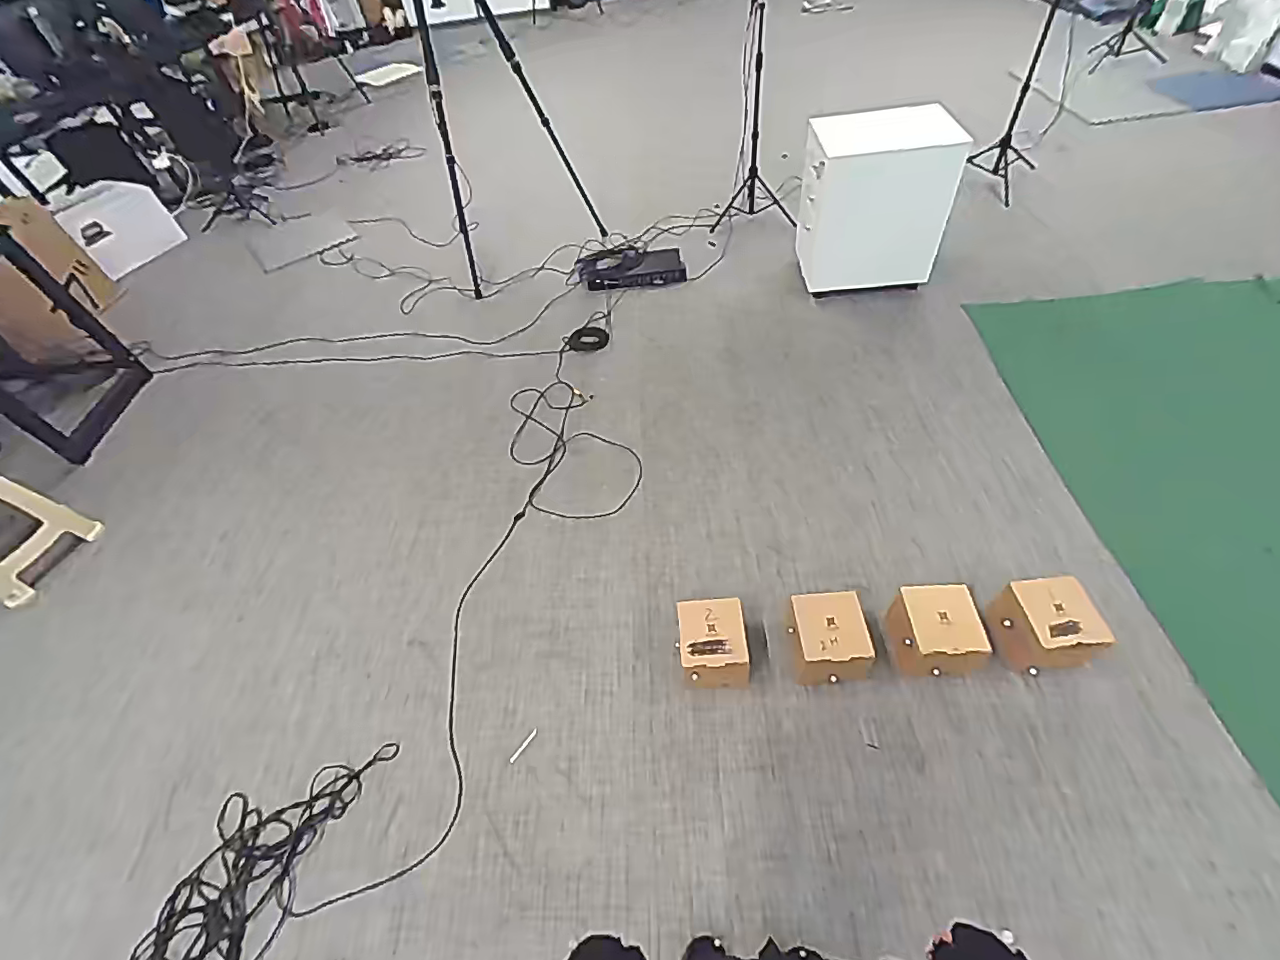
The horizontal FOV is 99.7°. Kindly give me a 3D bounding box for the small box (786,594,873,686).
[{"bbox_3d":[0.478,0.414,1.393,0.168,0.176,0.179,-5,51,5],"label":"small box"}]

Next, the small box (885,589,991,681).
[{"bbox_3d":[0.745,0.395,1.375,0.168,0.176,0.179,-3,51,5],"label":"small box"}]

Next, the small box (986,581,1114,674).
[{"bbox_3d":[1.012,0.375,1.353,0.168,0.176,0.179,-6,50,3],"label":"small box"}]
